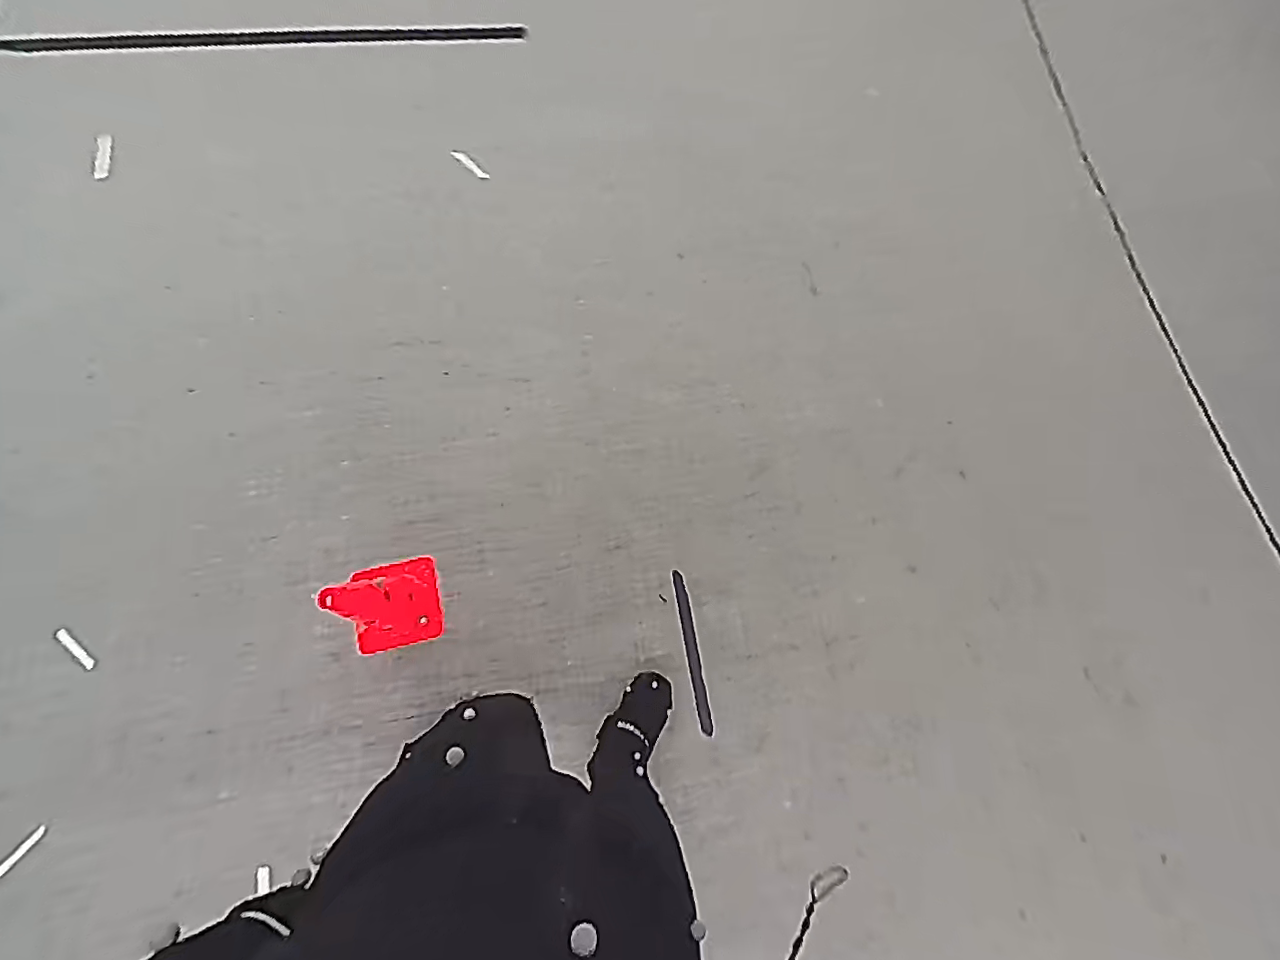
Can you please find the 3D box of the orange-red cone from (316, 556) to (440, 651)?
[{"bbox_3d":[-0.568,0.245,1.120,0.198,0.360,0.199,-11,75,-8],"label":"orange-red cone"}]
